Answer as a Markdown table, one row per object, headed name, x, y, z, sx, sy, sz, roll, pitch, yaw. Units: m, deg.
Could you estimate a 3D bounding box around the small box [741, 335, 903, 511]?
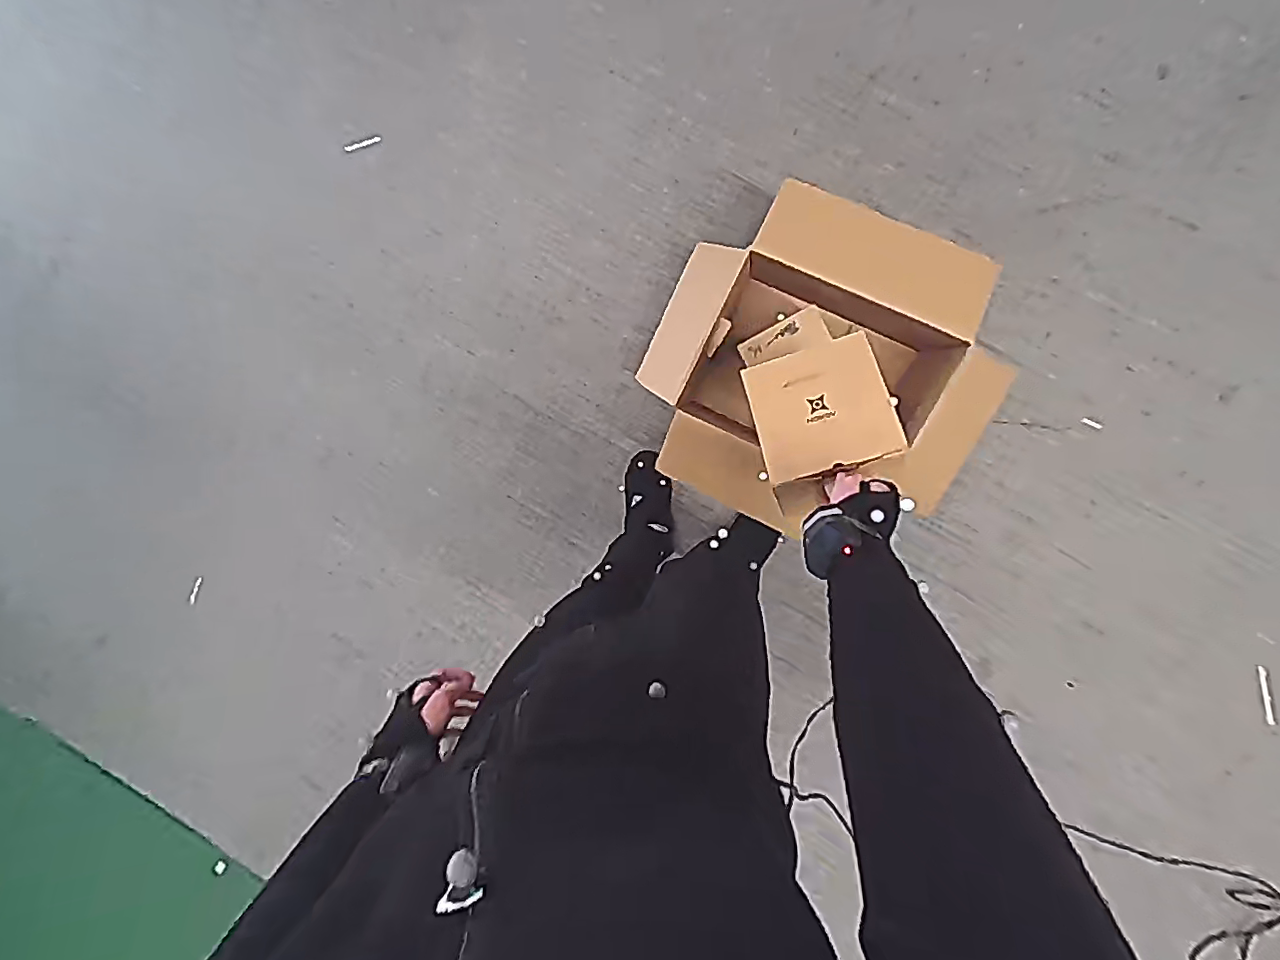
| name | x | y | z | sx | sy | sz | roll | pitch | yaw |
| --- | --- | --- | --- | --- | --- | --- | --- | --- | --- |
| small box | 0.254 | -0.066 | 0.766 | 0.168 | 0.176 | 0.179 | -16 | 64 | 14 |
